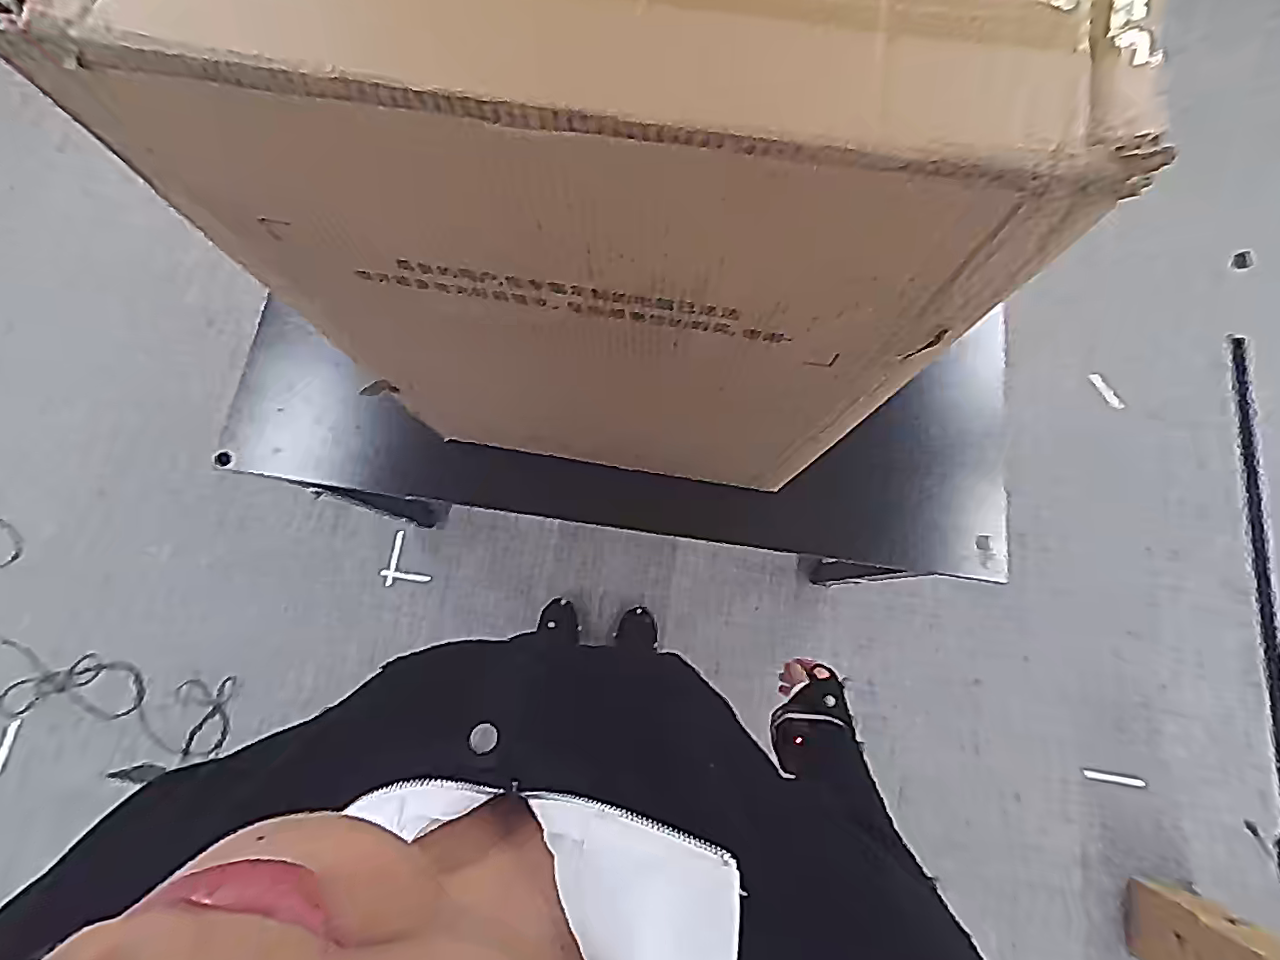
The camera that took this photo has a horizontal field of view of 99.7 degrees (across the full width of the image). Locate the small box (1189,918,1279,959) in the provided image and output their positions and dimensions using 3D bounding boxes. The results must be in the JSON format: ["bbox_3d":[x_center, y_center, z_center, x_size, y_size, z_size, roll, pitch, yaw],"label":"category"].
[{"bbox_3d":[1.283,1.040,1.097,0.179,0.176,0.168,12,78,3],"label":"small box"}]

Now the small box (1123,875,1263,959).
[{"bbox_3d":[1.279,1.068,1.259,0.168,0.176,0.179,12,78,3],"label":"small box"}]
